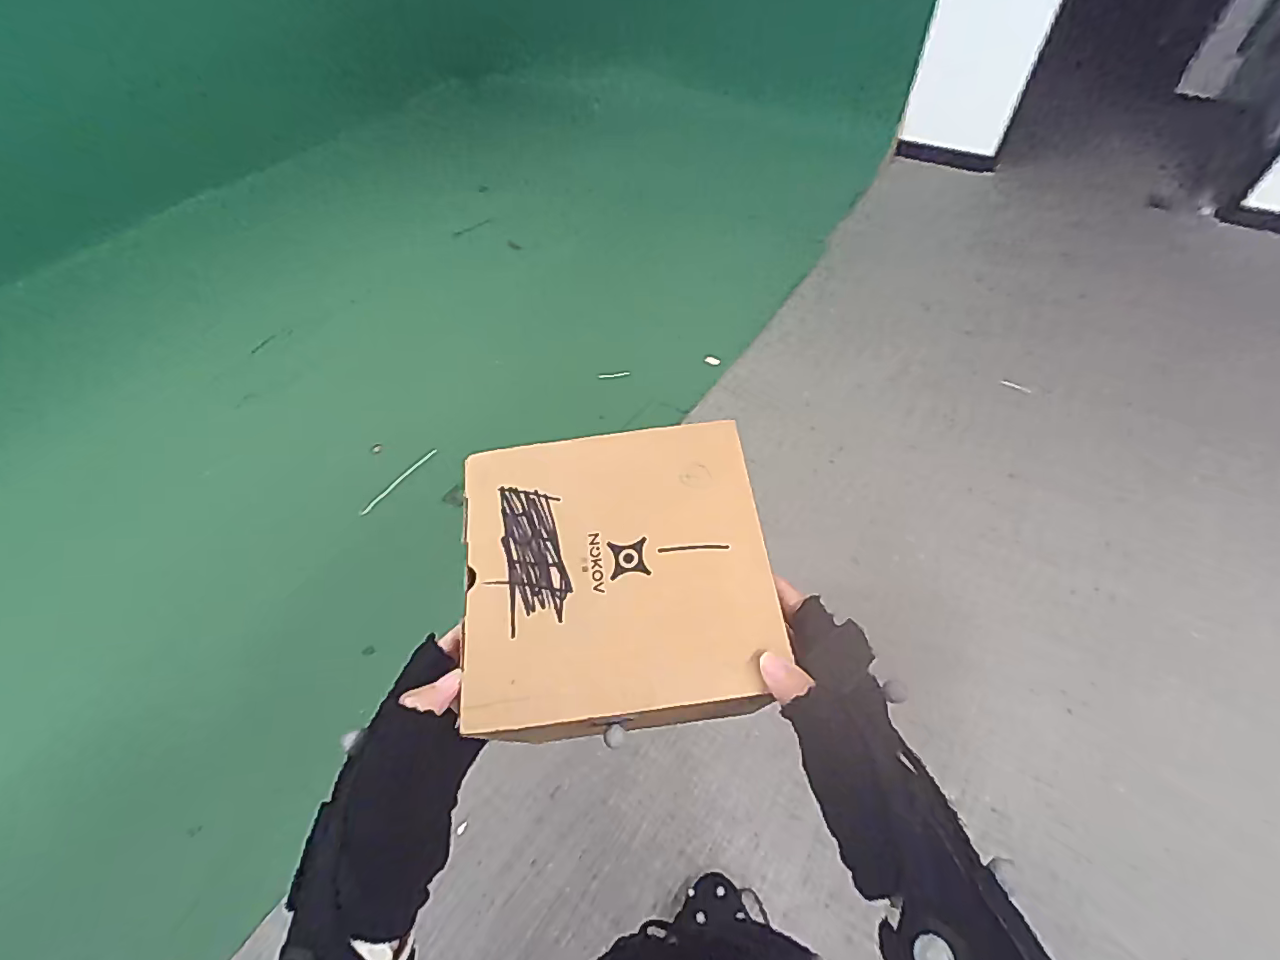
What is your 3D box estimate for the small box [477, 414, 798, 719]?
[{"bbox_3d":[-0.004,0.074,0.392,0.179,0.176,0.168,-7,64,-1],"label":"small box"}]
